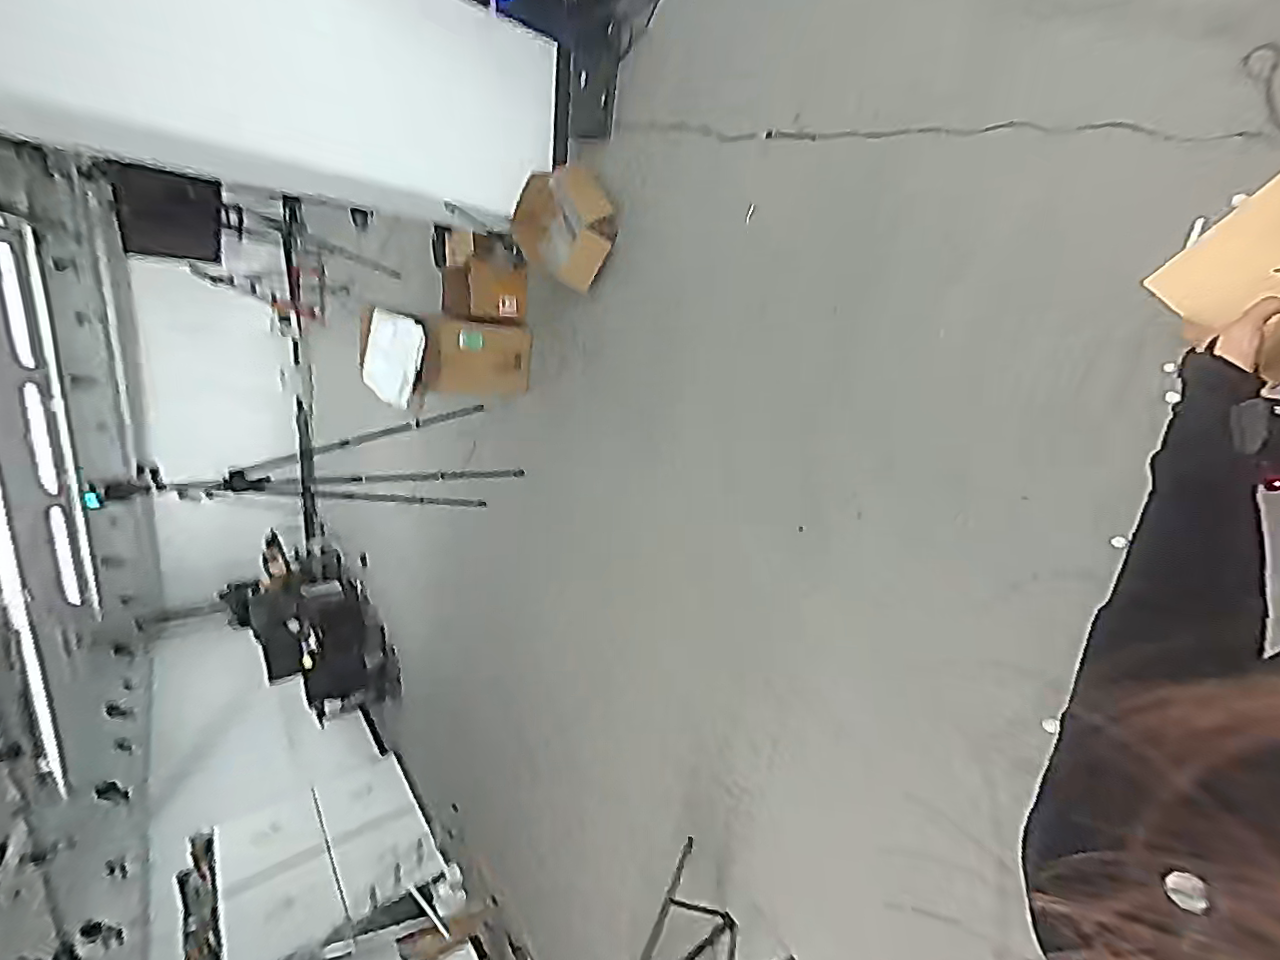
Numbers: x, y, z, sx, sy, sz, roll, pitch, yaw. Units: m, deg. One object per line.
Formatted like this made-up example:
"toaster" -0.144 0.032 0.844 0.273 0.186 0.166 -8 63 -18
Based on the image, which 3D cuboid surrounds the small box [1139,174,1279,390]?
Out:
"small box" 0.694 -0.217 0.556 0.168 0.176 0.179 62 147 22
